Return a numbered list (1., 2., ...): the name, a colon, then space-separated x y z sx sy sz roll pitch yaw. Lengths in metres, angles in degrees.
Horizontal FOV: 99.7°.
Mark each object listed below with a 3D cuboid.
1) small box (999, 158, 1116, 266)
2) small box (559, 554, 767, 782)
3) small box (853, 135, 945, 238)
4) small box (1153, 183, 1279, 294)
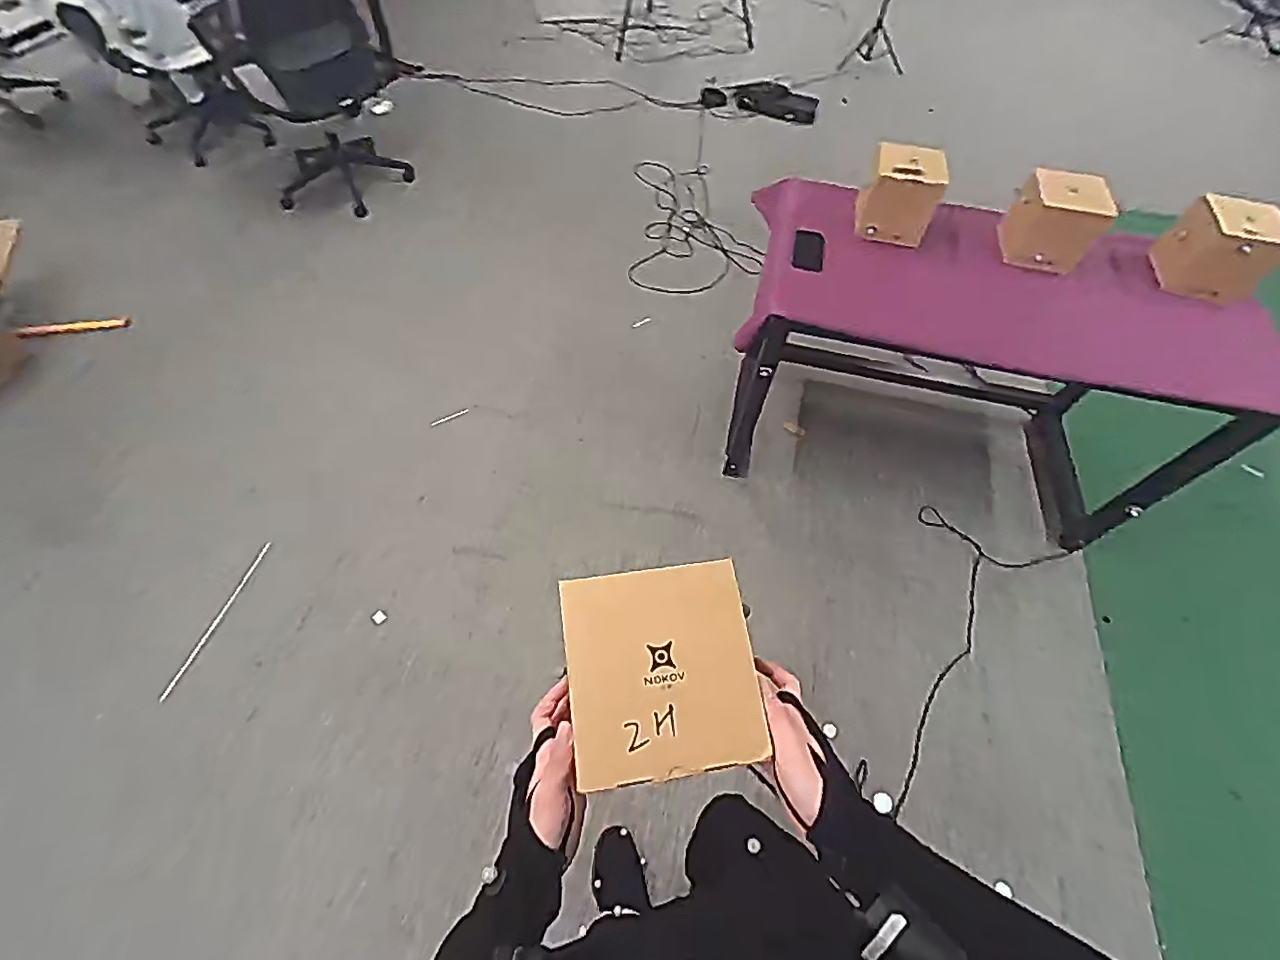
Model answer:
1. small box: 1.040 -0.676 1.367 0.168 0.176 0.179 13 59 7
2. small box: 0.011 0.187 0.548 0.168 0.176 0.179 -7 70 -5
3. small box: 0.667 -0.758 1.405 0.168 0.176 0.179 12 58 6
4. small box: 1.418 -0.589 1.321 0.168 0.176 0.179 13 58 8
